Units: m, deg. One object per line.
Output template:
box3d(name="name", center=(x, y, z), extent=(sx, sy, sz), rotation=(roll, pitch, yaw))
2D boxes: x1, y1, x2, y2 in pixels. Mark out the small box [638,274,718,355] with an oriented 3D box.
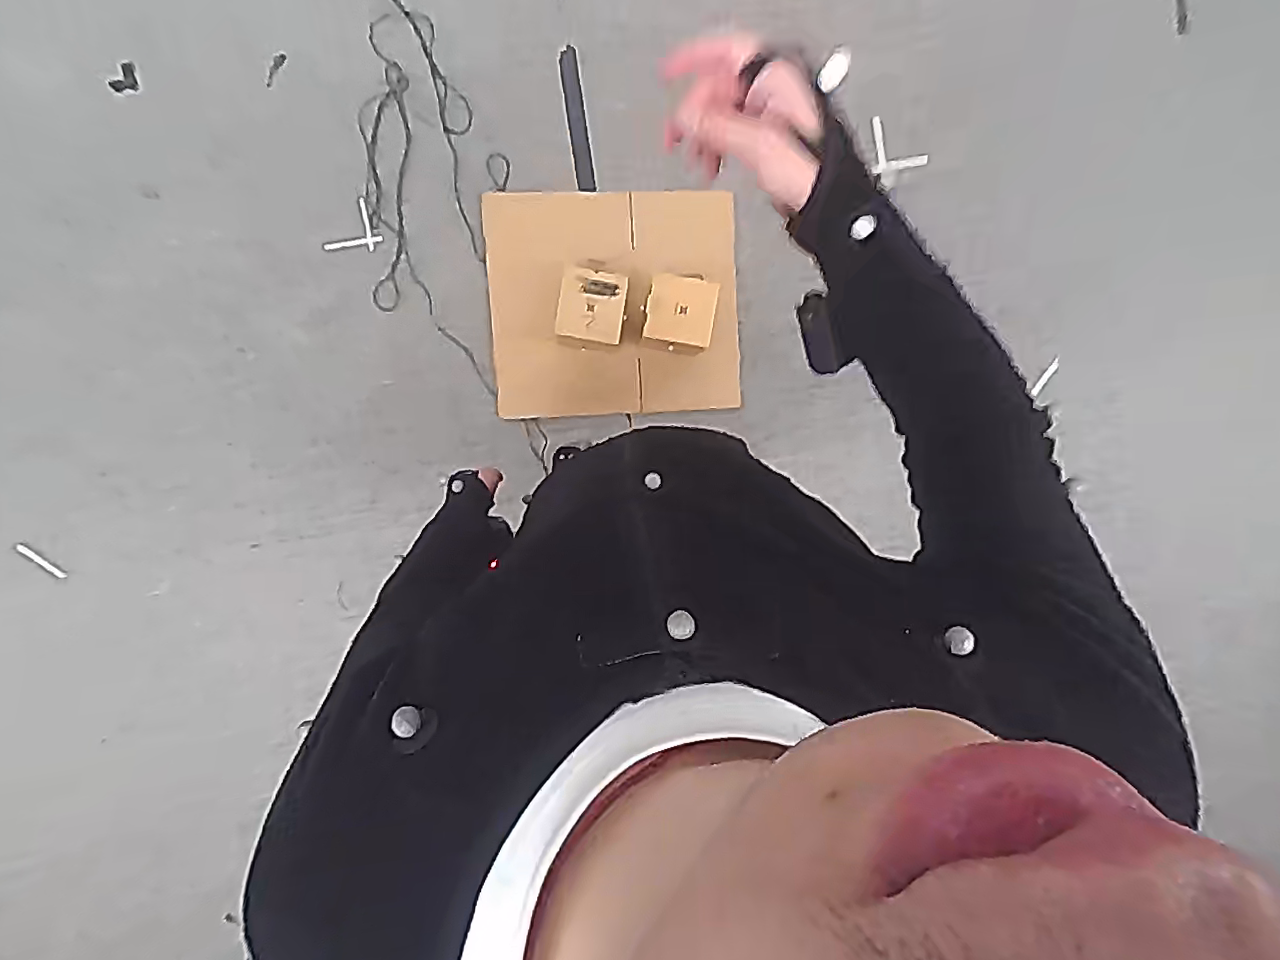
box3d(name="small box", center=(0.097, -0.442, 1.474), extent=(0.179, 0.176, 0.168), rotation=(9, 94, -6))
